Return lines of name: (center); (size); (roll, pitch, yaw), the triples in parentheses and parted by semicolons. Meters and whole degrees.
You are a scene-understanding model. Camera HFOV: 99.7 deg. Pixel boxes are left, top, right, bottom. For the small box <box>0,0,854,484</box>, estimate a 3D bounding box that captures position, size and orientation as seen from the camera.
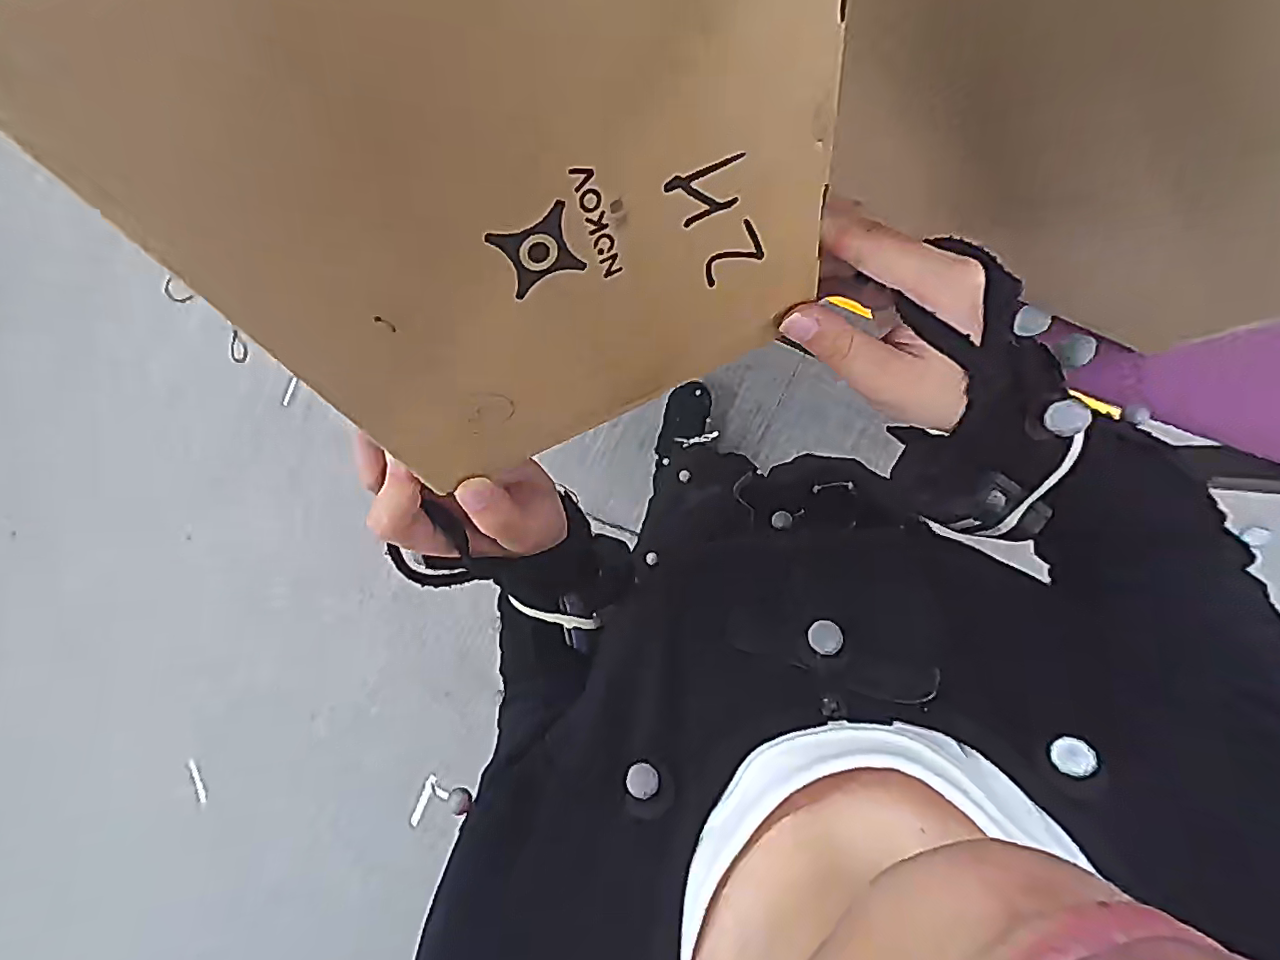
small box: (-0.051, -0.133, 0.190); (0.179, 0.168, 0.176); (-26, 61, -1)
